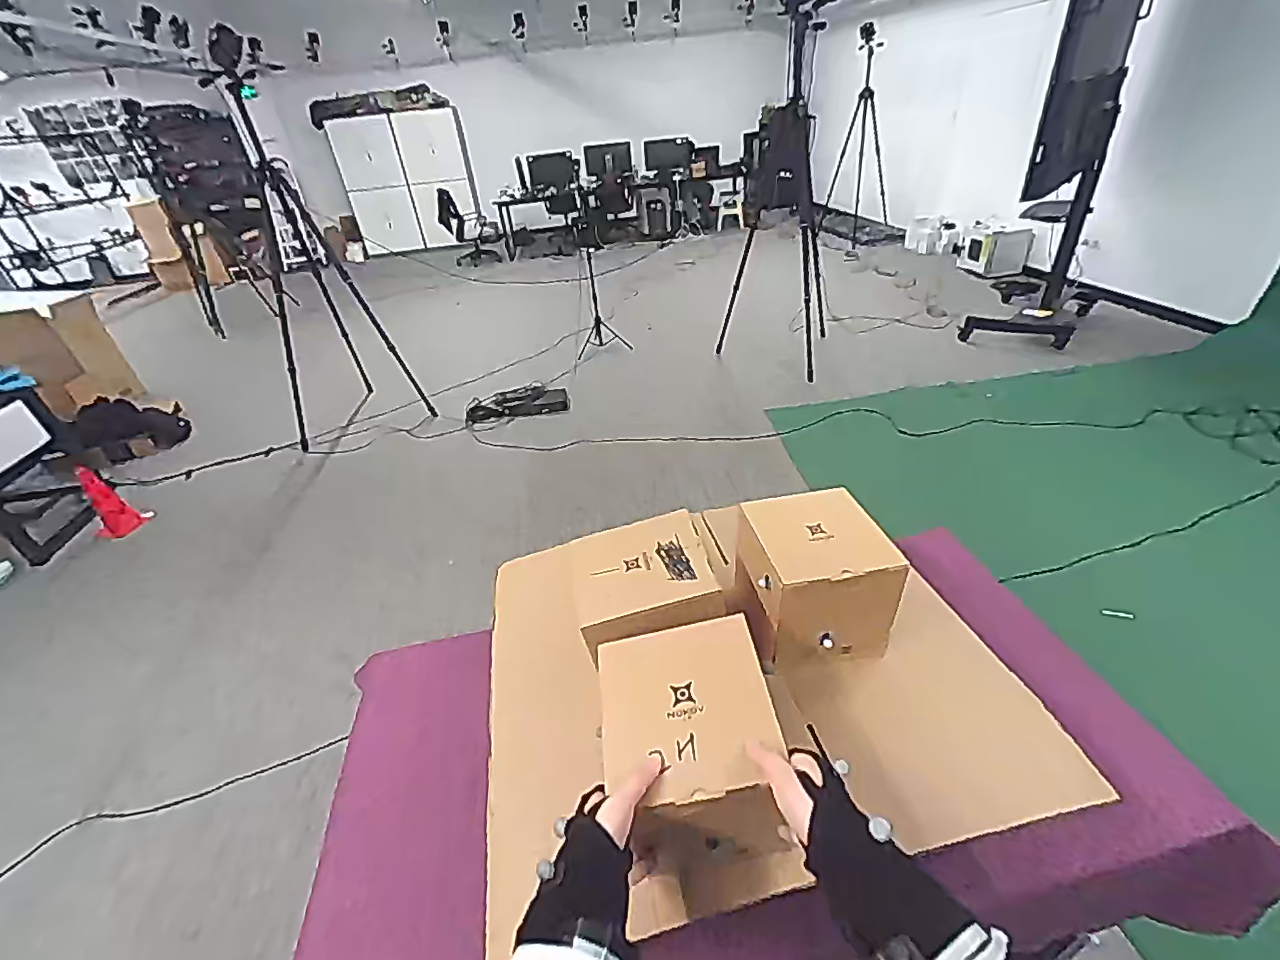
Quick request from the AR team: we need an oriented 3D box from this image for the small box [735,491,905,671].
[{"bbox_3d":[0.239,0.140,0.771,0.168,0.176,0.179,-8,35,-6],"label":"small box"}]
